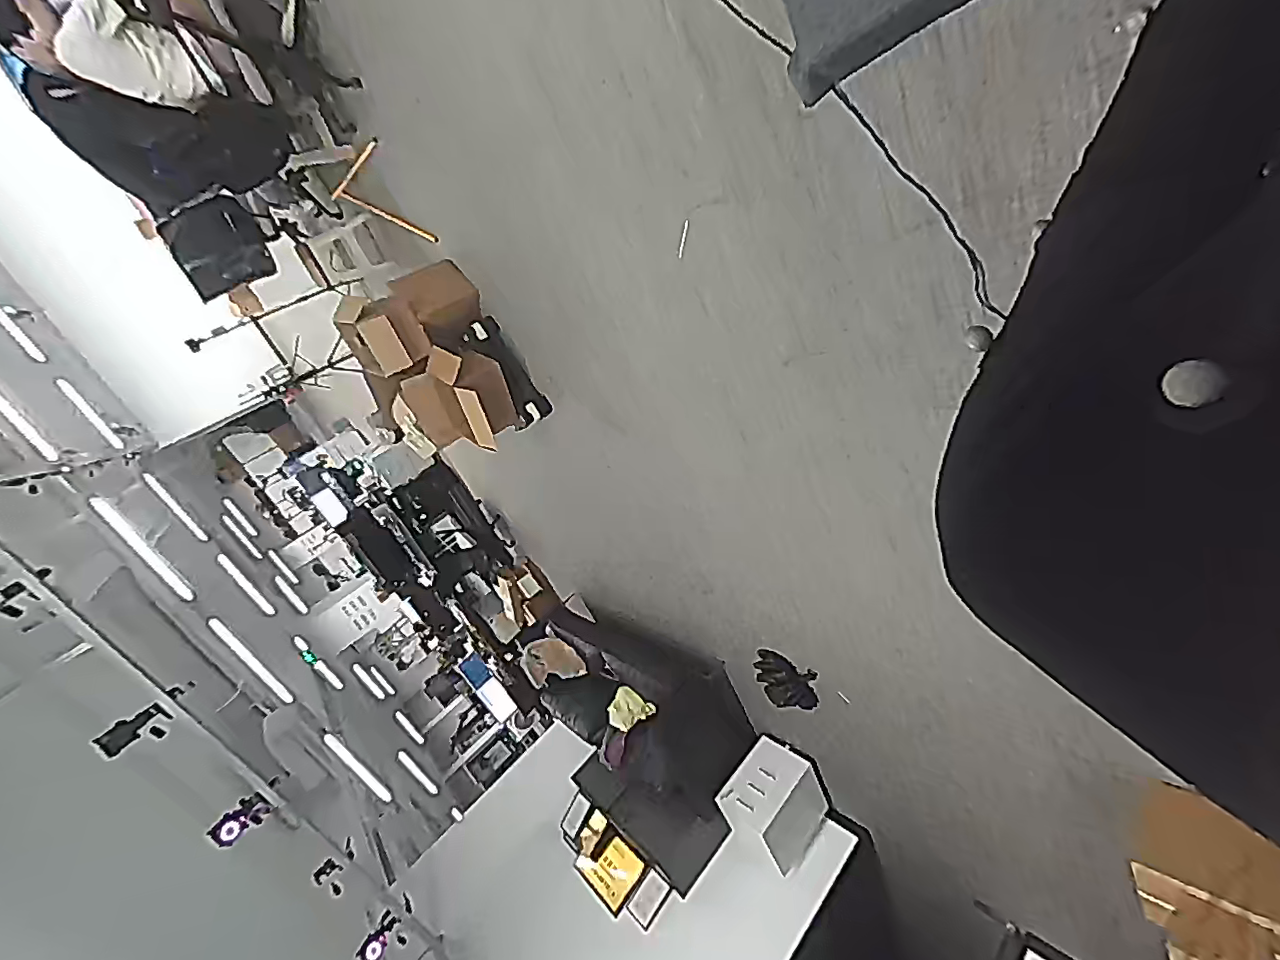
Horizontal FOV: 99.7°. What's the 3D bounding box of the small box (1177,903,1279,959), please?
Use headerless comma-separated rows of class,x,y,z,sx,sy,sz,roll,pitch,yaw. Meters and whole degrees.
small box,1.579,1.292,1.439,0.179,0.176,0.168,1,123,57
